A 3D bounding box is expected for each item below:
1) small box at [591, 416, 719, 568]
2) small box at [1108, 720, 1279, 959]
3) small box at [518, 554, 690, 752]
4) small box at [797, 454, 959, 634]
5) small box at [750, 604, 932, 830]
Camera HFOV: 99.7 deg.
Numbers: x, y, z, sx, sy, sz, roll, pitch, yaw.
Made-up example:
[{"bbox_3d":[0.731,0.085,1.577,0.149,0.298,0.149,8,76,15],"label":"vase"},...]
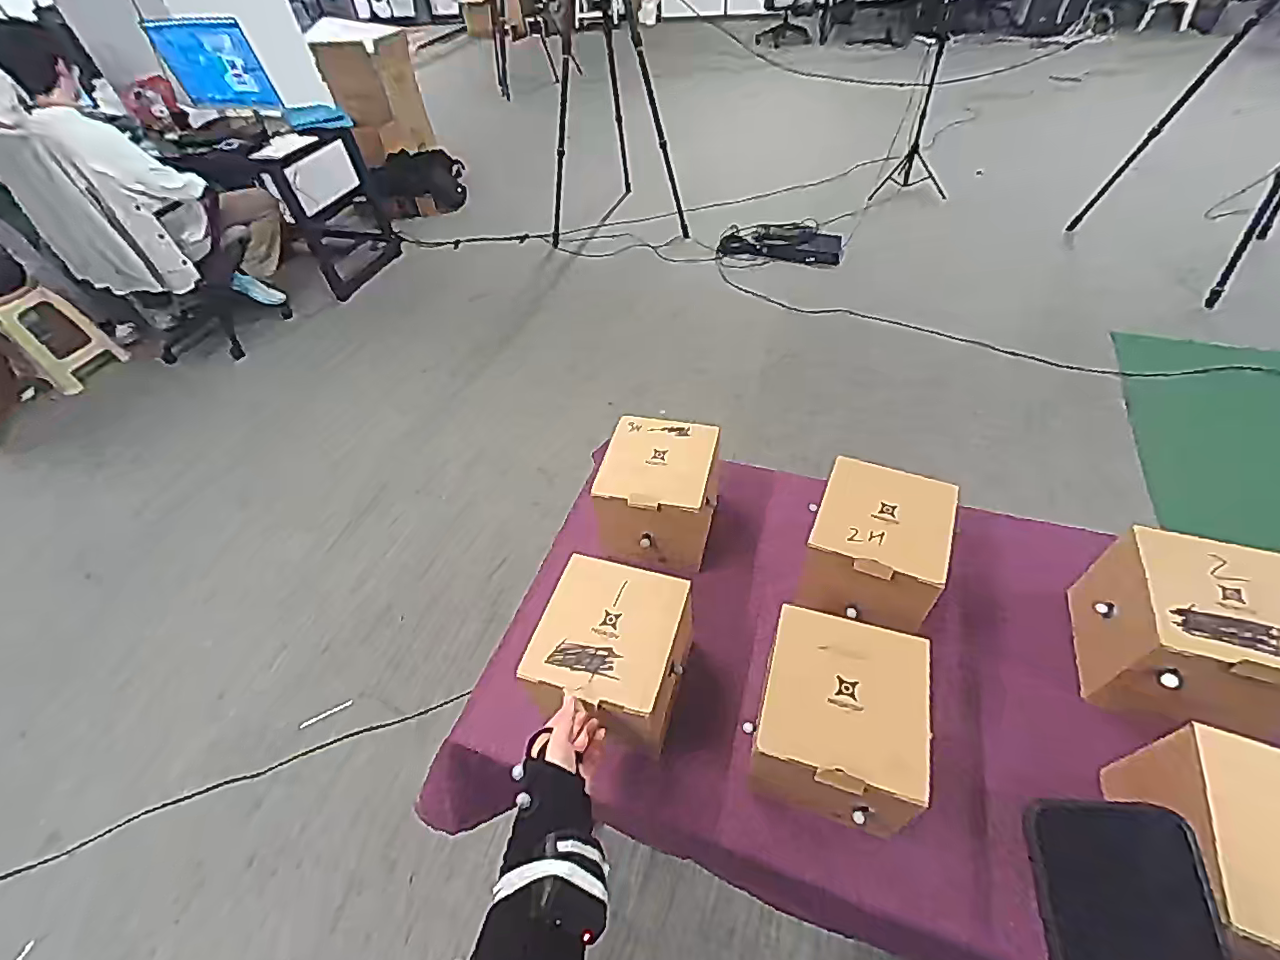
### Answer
[{"bbox_3d":[0.034,0.022,0.885,0.168,0.176,0.179,8,52,13],"label":"small box"},{"bbox_3d":[0.586,0.368,0.512,0.168,0.176,0.179,15,53,20],"label":"small box"},{"bbox_3d":[-0.032,0.229,0.710,0.168,0.176,0.179,11,50,15],"label":"small box"},{"bbox_3d":[0.335,0.097,0.781,0.168,0.176,0.179,17,53,21],"label":"small box"},{"bbox_3d":[0.228,0.279,0.636,0.168,0.176,0.179,12,50,16],"label":"small box"}]
